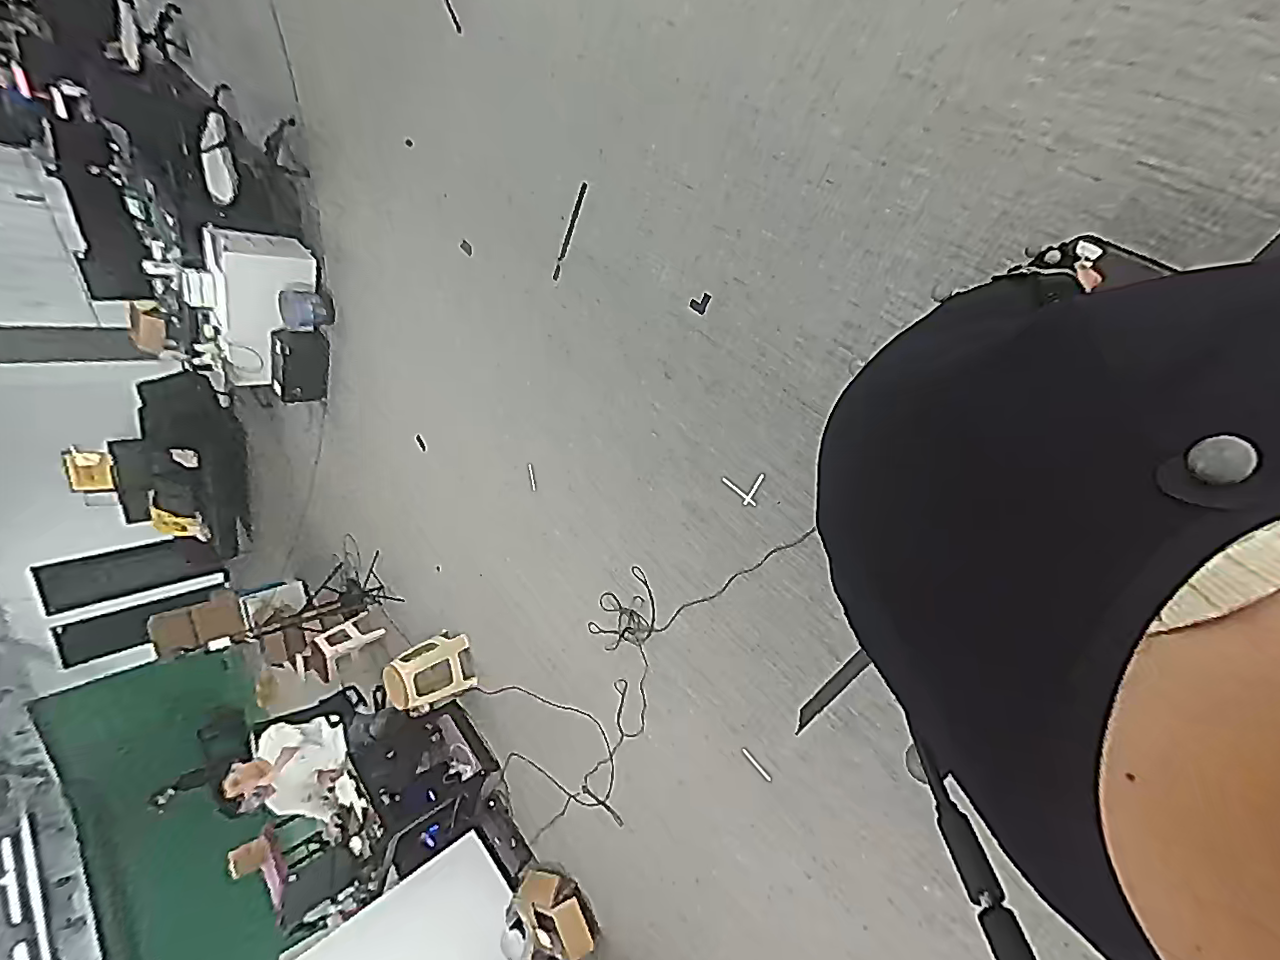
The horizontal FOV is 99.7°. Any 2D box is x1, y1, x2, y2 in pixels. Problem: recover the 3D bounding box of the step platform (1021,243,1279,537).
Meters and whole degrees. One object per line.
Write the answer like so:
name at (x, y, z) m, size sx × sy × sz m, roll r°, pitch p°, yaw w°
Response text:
step platform at (1.104, -0.151, 1.003) m, size 0.684 × 0.204 × 0.286 m, roll 48°, pitch 128°, yaw 24°
